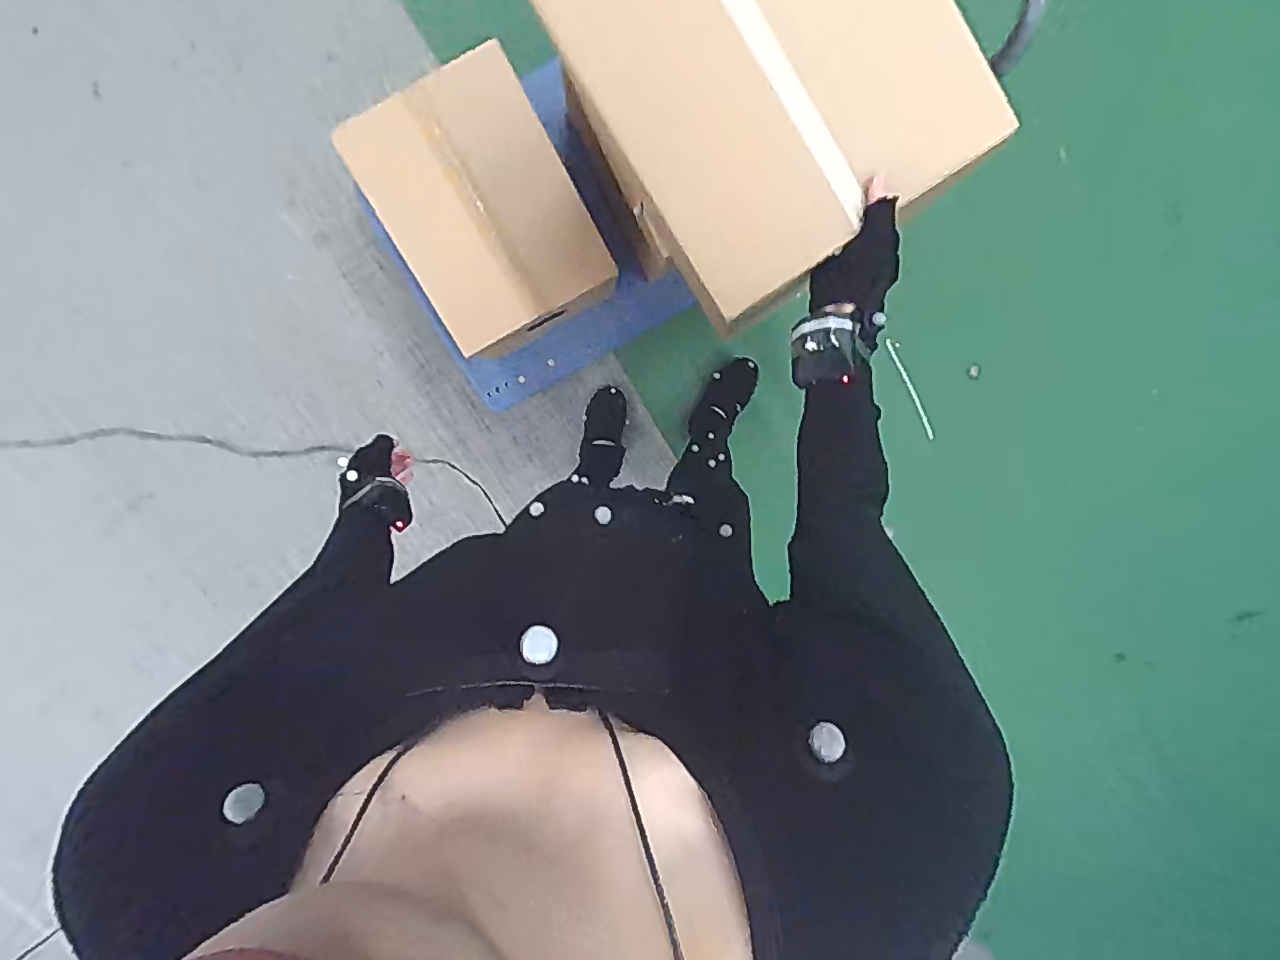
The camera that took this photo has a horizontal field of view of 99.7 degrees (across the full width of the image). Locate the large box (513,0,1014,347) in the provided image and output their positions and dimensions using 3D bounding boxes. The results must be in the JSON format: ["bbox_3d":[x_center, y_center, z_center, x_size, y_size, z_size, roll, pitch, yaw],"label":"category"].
[{"bbox_3d":[0.132,-0.421,0.653,0.320,0.320,0.408,-32,93,13],"label":"large box"}]
